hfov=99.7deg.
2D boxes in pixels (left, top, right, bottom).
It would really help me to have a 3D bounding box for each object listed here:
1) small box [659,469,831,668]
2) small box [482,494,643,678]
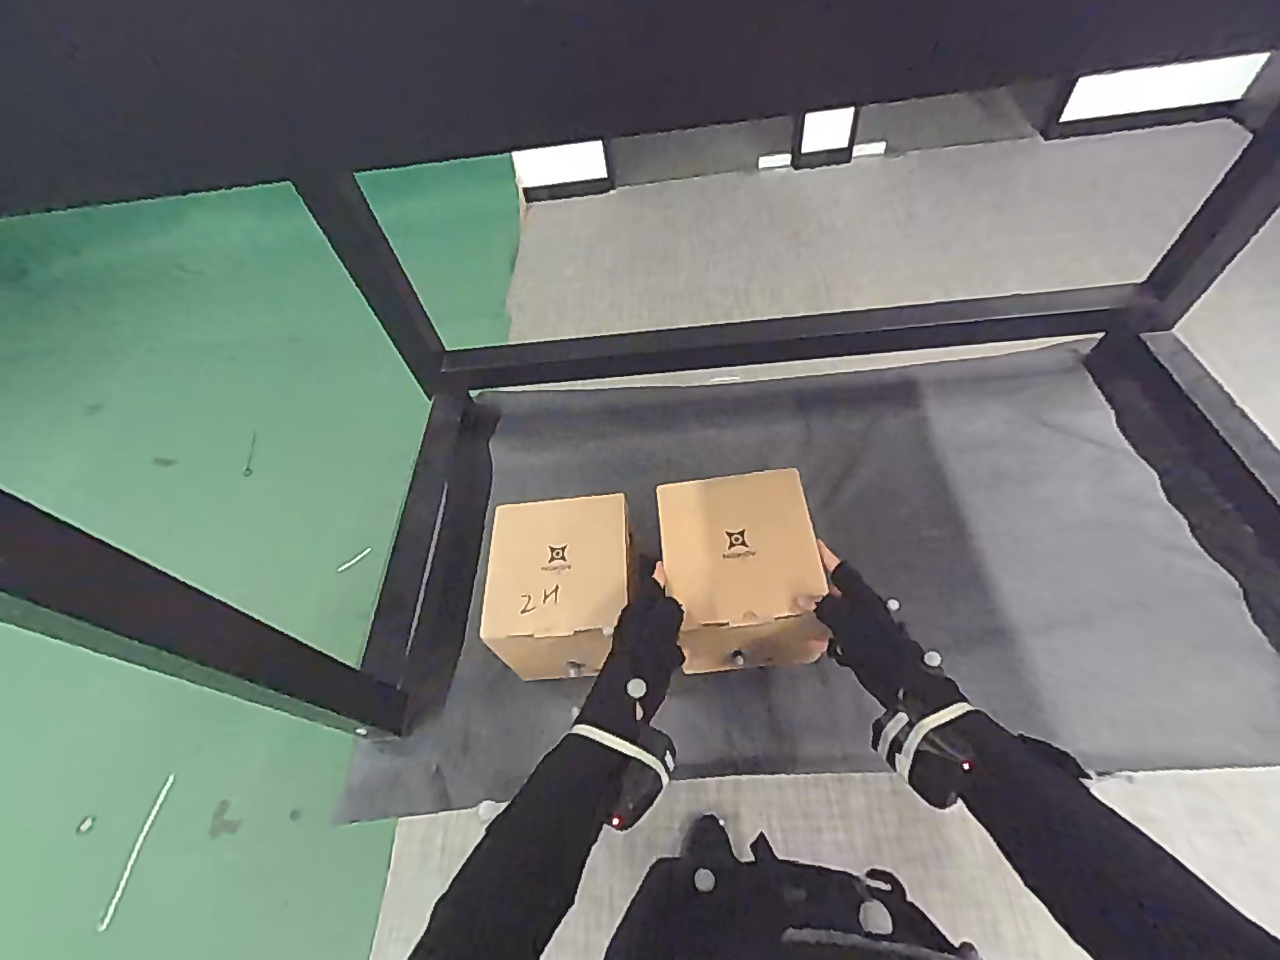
[{"bbox_3d":[0.116,0.111,0.652,0.168,0.176,0.179,-7,56,6],"label":"small box"},{"bbox_3d":[-0.087,0.140,0.699,0.168,0.176,0.179,-6,54,4],"label":"small box"}]
